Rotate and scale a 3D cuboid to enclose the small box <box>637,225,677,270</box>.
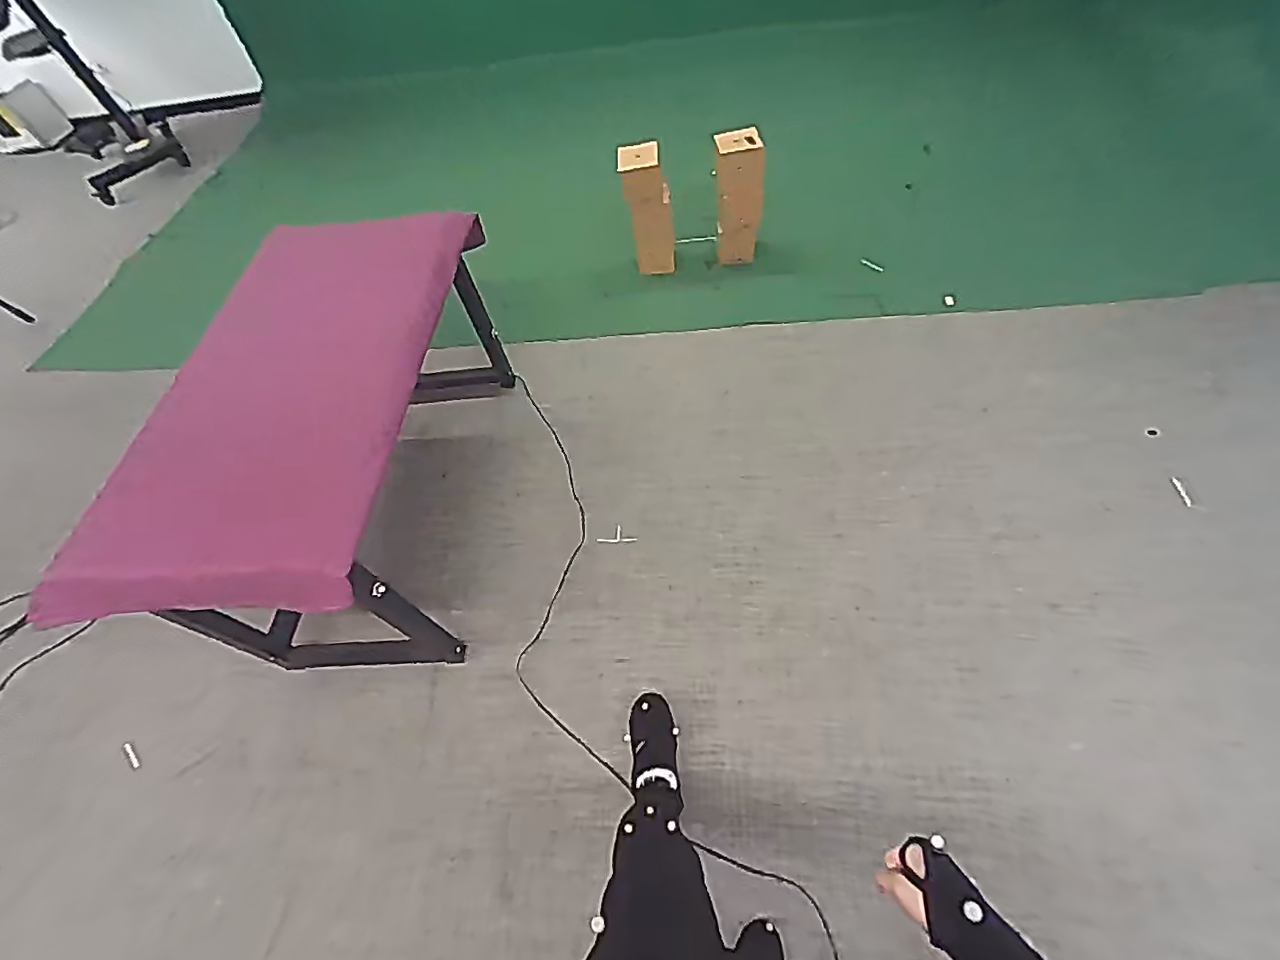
[{"bbox_3d":[0.083,-1.101,2.526,0.168,0.176,0.179,-4,56,7],"label":"small box"}]

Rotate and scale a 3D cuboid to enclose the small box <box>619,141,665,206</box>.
[{"bbox_3d":[0.010,-1.281,2.262,0.168,0.176,0.179,-6,56,8],"label":"small box"}]

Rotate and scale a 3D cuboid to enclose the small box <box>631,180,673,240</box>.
[{"bbox_3d":[0.056,-1.192,2.393,0.179,0.176,0.168,-6,56,5],"label":"small box"}]

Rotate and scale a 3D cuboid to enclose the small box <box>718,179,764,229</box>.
[{"bbox_3d":[0.433,-1.224,2.351,0.168,0.176,0.179,-11,56,3],"label":"small box"}]

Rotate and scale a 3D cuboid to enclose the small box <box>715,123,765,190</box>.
[{"bbox_3d":[0.409,-1.329,2.224,0.179,0.176,0.168,-9,56,4],"label":"small box"}]
